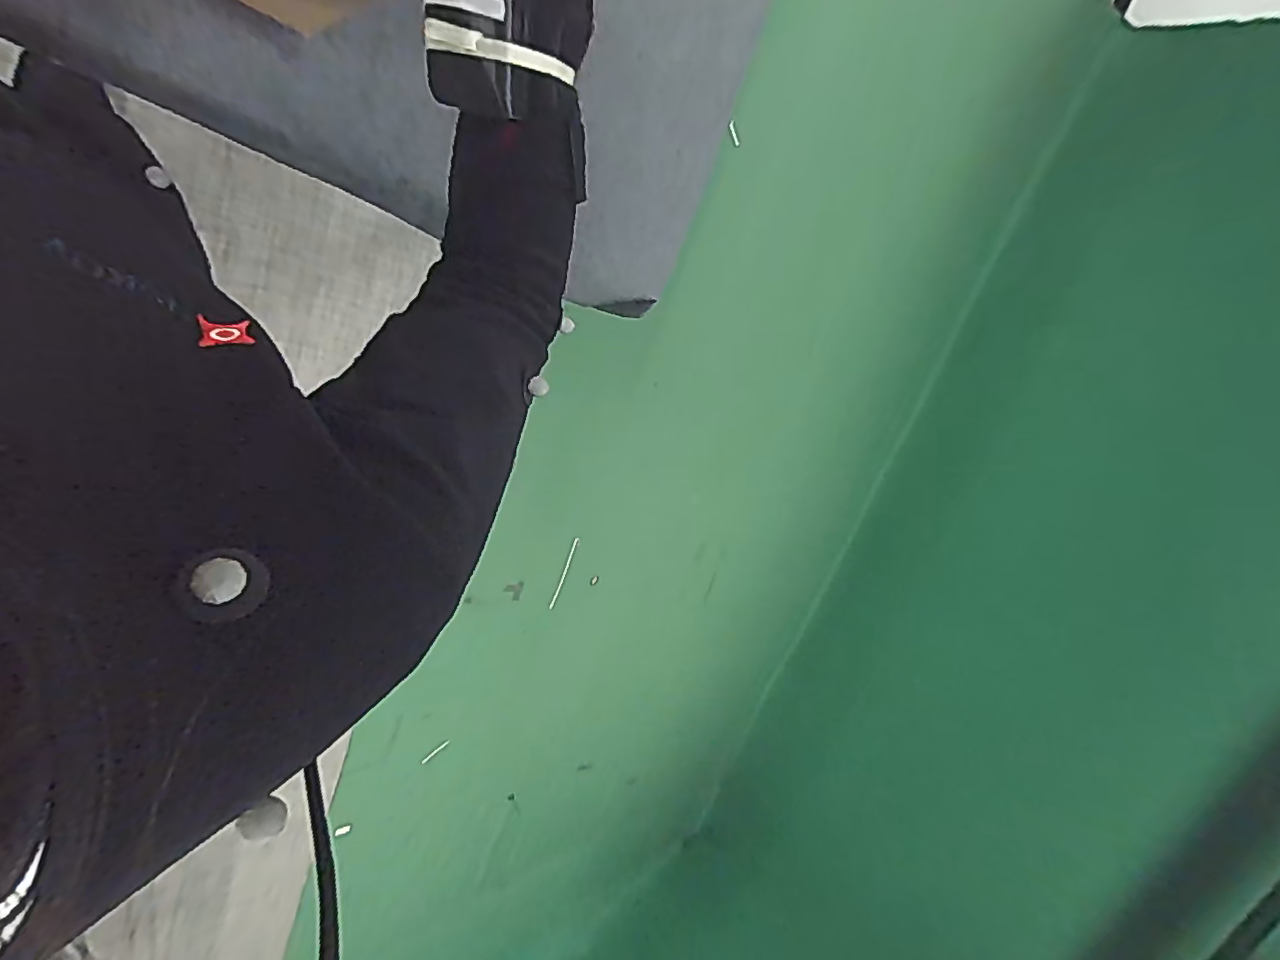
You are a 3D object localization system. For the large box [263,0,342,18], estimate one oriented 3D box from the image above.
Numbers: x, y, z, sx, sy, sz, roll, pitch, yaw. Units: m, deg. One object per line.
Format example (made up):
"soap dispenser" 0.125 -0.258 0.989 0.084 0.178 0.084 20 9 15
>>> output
"large box" -0.292 -0.479 0.199 0.408 0.320 0.320 0 115 -46
